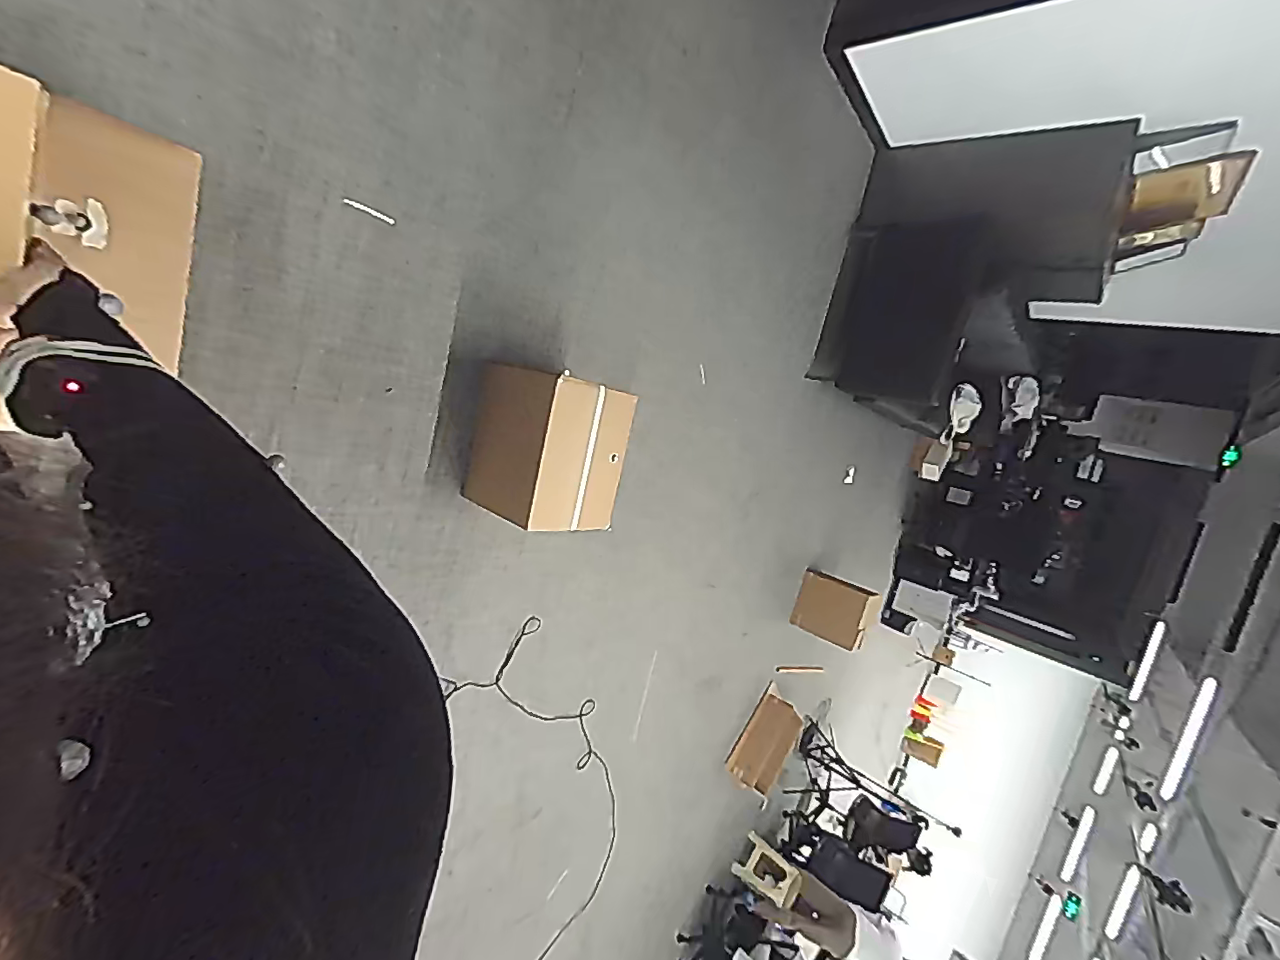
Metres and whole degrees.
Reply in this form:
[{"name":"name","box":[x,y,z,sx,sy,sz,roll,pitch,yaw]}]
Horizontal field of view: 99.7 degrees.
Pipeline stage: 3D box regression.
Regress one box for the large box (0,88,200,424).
[{"name":"large box","box":[-0.857,-0.312,0.756,0.320,0.320,0.408,3,102,-50]}]

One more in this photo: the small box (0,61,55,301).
[{"name":"small box","box":[-0.595,-0.255,0.429,0.168,0.176,0.179,4,101,-48]}]
